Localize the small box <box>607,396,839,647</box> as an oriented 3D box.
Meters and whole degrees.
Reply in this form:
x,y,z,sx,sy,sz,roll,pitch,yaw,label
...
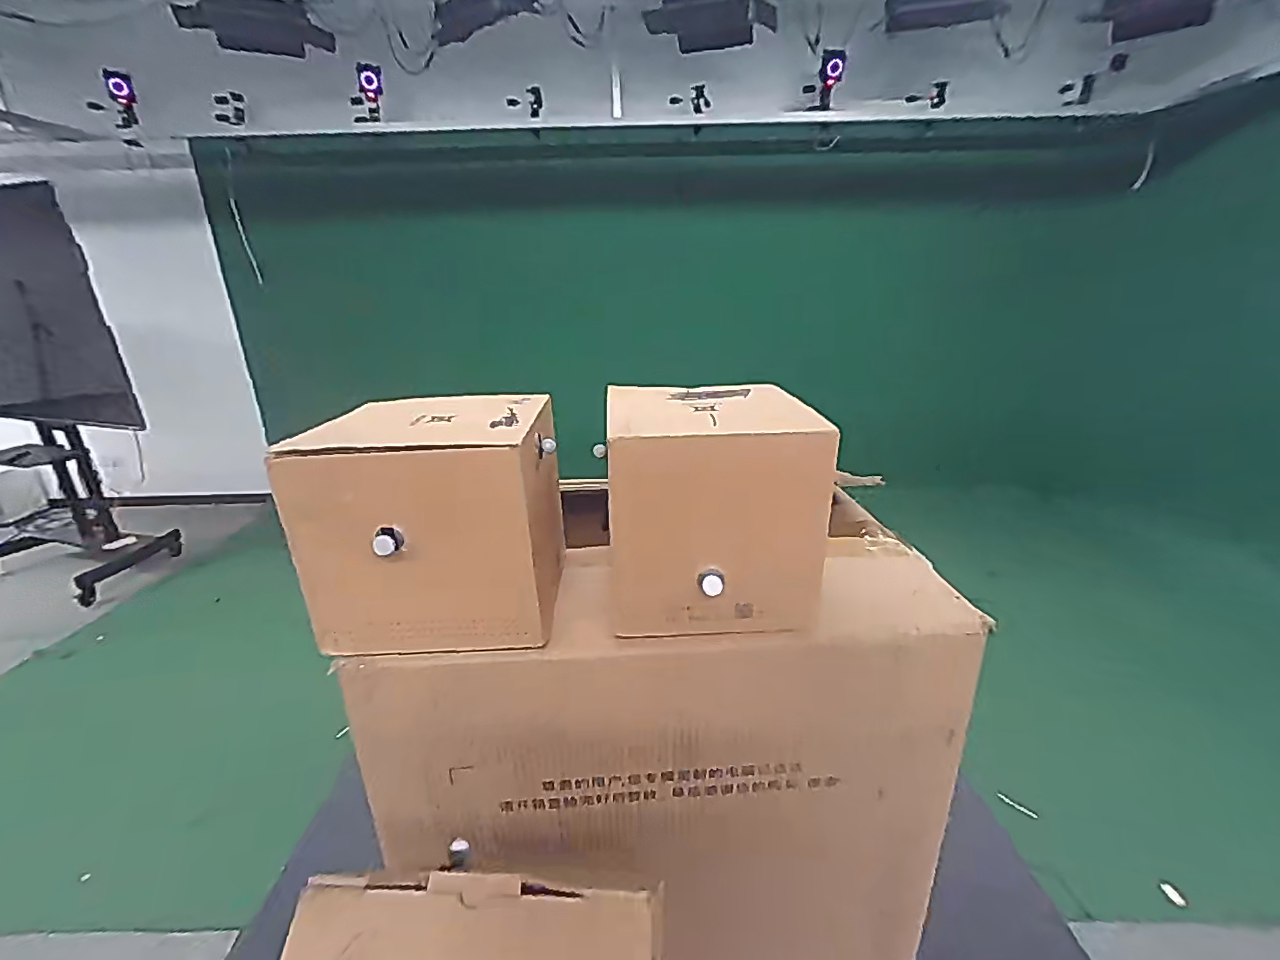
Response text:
x,y,z,sx,sy,sz,roll,pitch,yaw,label
0.055,0.026,0.482,0.168,0.176,0.179,-1,22,-2,small box

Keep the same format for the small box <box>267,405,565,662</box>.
x,y,z,sx,sy,sz,roll,pitch,yaw,label
-0.165,0.038,0.465,0.179,0.176,0.168,-2,21,-1,small box
